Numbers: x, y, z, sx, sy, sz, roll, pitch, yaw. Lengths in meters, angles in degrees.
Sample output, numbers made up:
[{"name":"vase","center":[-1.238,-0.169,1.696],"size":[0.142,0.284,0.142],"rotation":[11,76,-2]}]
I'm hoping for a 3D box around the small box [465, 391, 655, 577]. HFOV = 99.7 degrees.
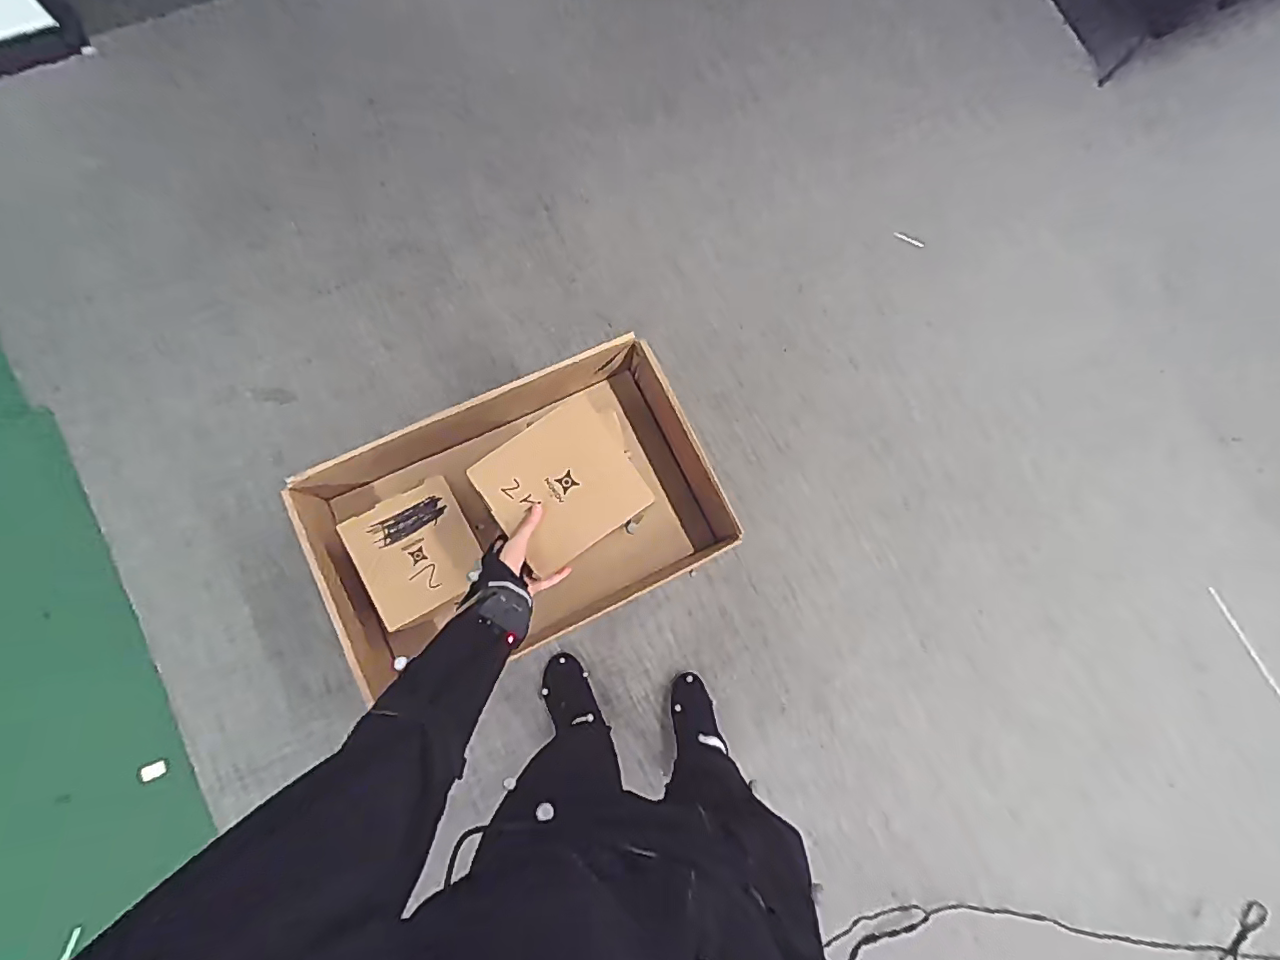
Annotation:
[{"name":"small box","center":[-0.100,0.010,0.731],"size":[0.179,0.176,0.168],"rotation":[-34,86,-4]}]
